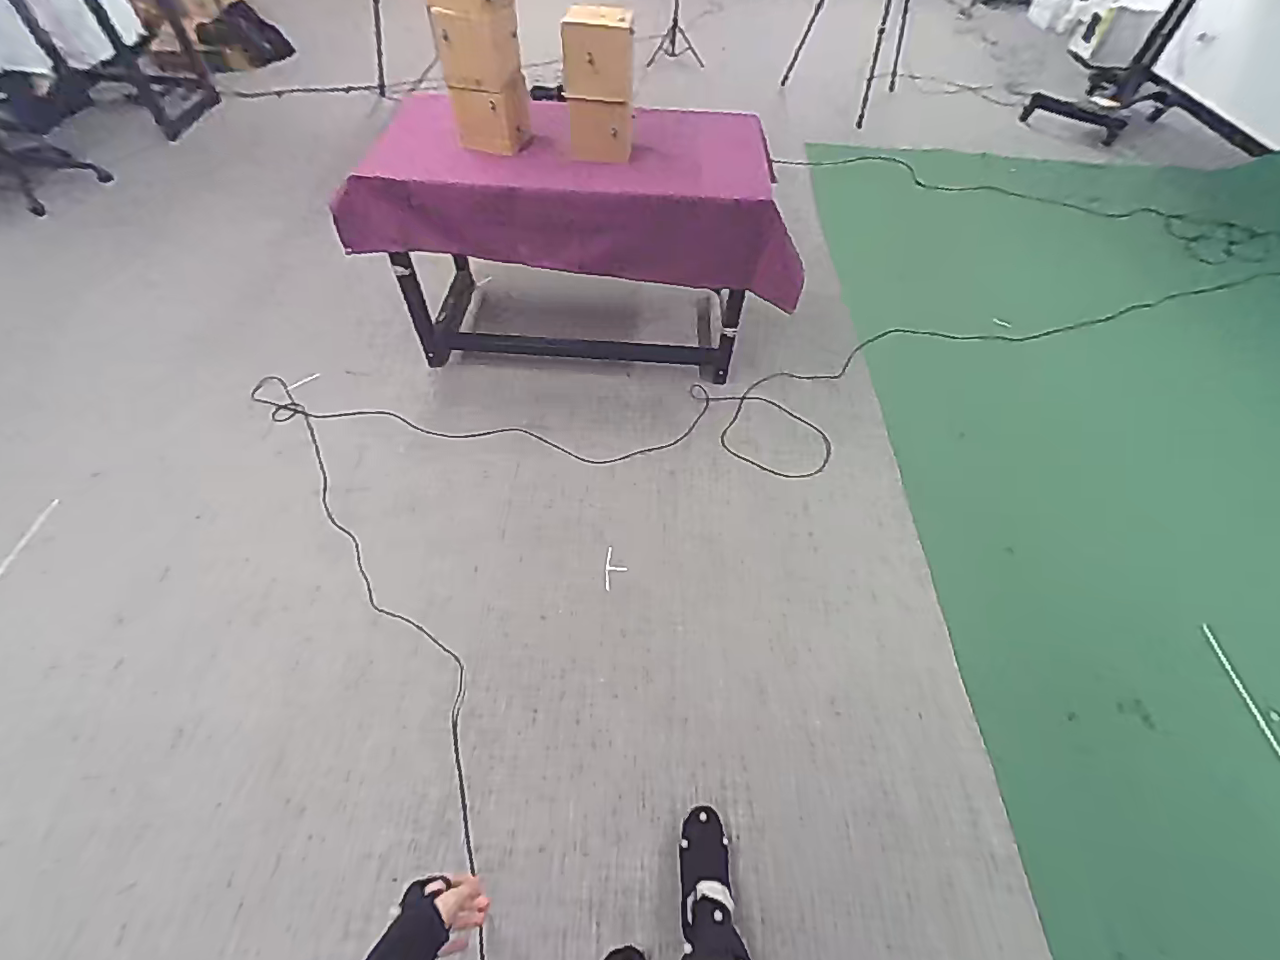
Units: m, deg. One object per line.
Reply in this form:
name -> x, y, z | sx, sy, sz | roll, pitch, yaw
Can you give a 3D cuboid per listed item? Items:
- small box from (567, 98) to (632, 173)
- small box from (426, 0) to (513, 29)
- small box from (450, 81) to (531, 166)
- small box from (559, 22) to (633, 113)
small box -> -0.120, -1.060, 1.649 | 0.179, 0.176, 0.168 | 5, 52, 1
small box -> -0.451, -1.304, 1.408 | 0.179, 0.176, 0.168 | 18, 53, 11
small box -> -0.451, -1.092, 1.660 | 0.179, 0.176, 0.168 | 13, 53, 6
small box -> -0.118, -1.154, 1.515 | 0.179, 0.176, 0.168 | 6, 53, 3
